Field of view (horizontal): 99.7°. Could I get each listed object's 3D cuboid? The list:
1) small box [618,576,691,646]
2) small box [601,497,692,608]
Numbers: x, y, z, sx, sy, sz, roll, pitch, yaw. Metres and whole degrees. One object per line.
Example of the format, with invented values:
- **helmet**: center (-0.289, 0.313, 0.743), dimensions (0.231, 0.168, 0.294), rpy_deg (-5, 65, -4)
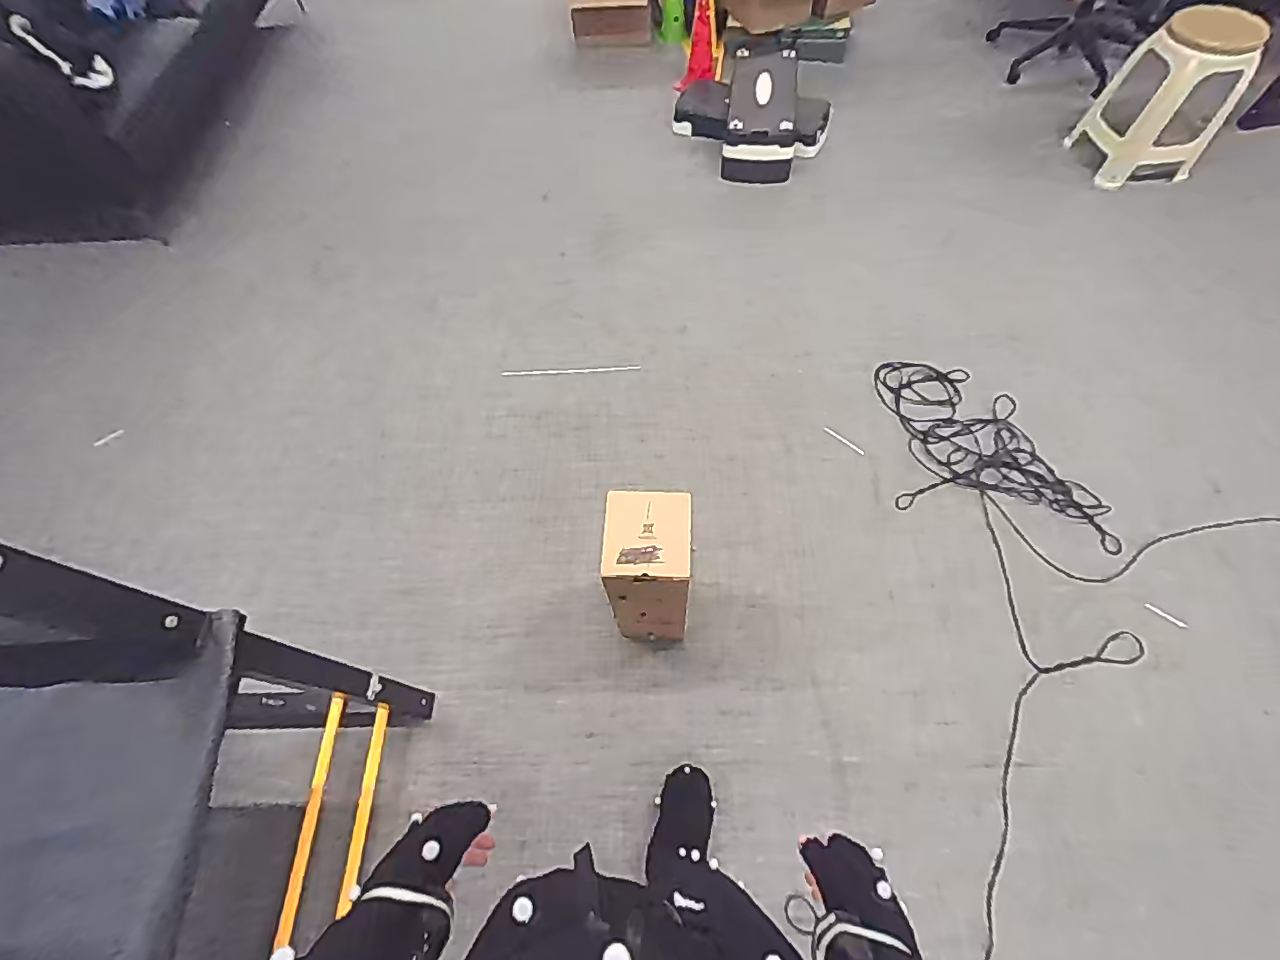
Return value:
- **small box**: center (0.042, 0.309, 1.373), dimensions (0.168, 0.176, 0.179), rpy_deg (3, 62, 6)
- **small box**: center (0.020, 0.150, 1.088), dimensions (0.168, 0.176, 0.179), rpy_deg (2, 61, 4)
